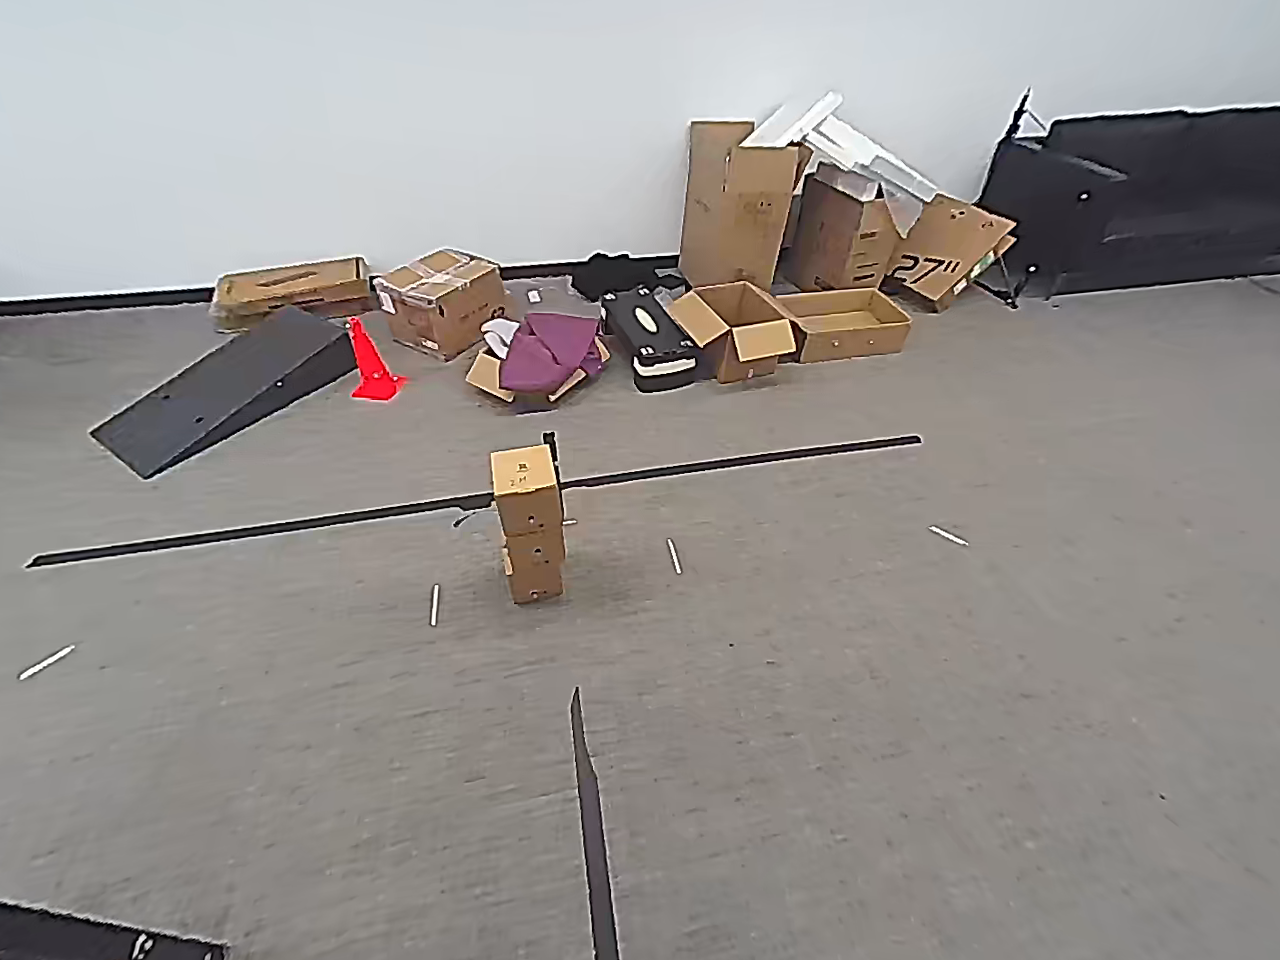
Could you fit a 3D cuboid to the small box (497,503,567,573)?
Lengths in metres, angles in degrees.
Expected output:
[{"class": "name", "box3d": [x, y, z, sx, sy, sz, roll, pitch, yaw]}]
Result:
[{"class": "small box", "box3d": [-0.324, 0.162, 1.638, 0.168, 0.176, 0.179, -14, 46, -14]}]

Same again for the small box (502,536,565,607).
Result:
[{"class": "small box", "box3d": [-0.344, 0.281, 1.750, 0.168, 0.176, 0.179, -13, 47, -13]}]

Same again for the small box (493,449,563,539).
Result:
[{"class": "small box", "box3d": [-0.316, 0.039, 1.527, 0.168, 0.176, 0.179, -10, 45, -10]}]
